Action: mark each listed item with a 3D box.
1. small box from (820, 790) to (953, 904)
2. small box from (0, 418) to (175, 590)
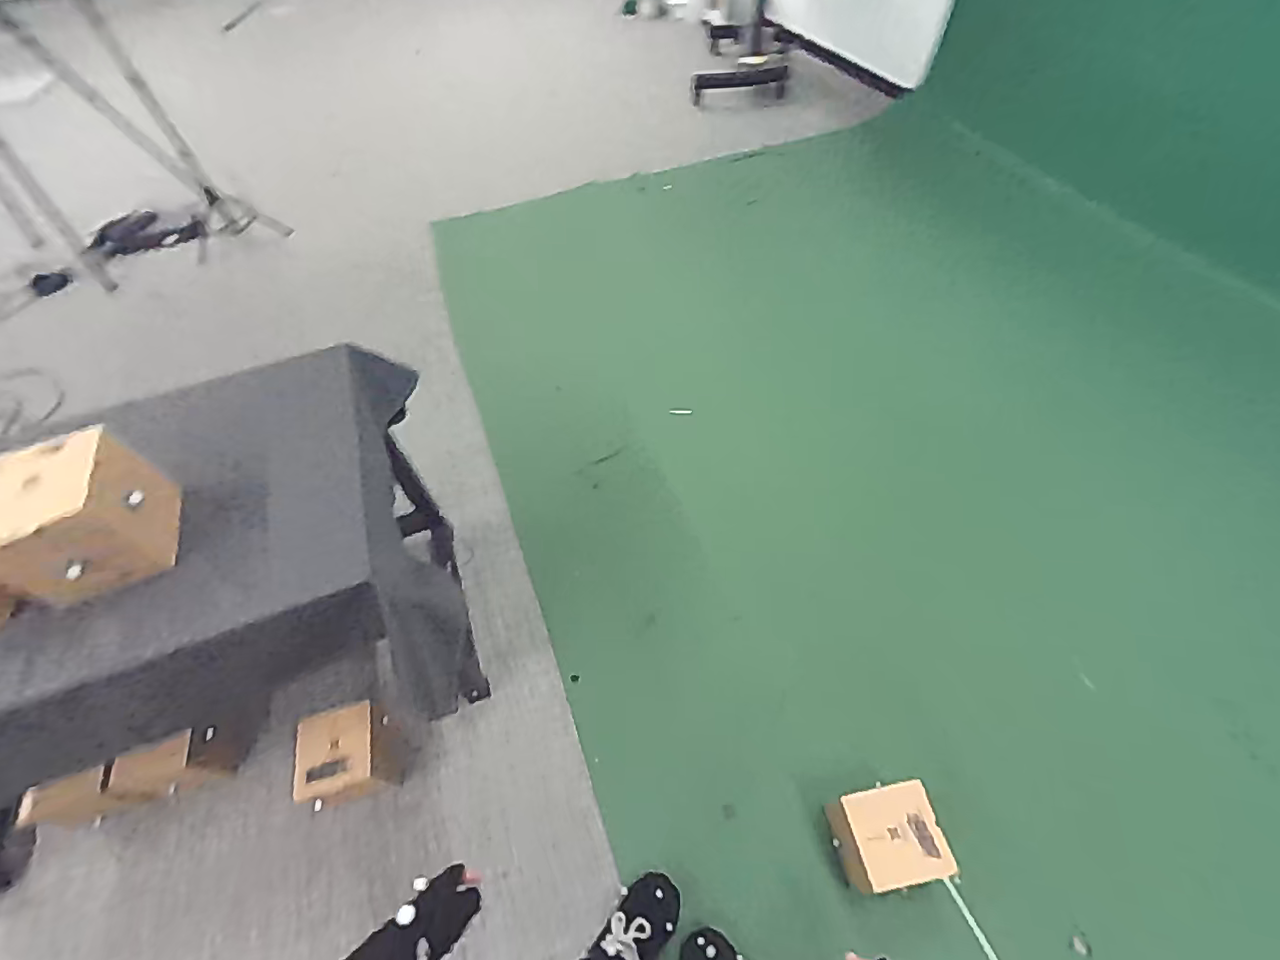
[{"bbox_3d":[0.501,0.764,1.128,0.179,0.176,0.168,-10,53,-4],"label":"small box"},{"bbox_3d":[-0.845,0.044,0.808,0.168,0.176,0.179,-20,56,-13],"label":"small box"}]
